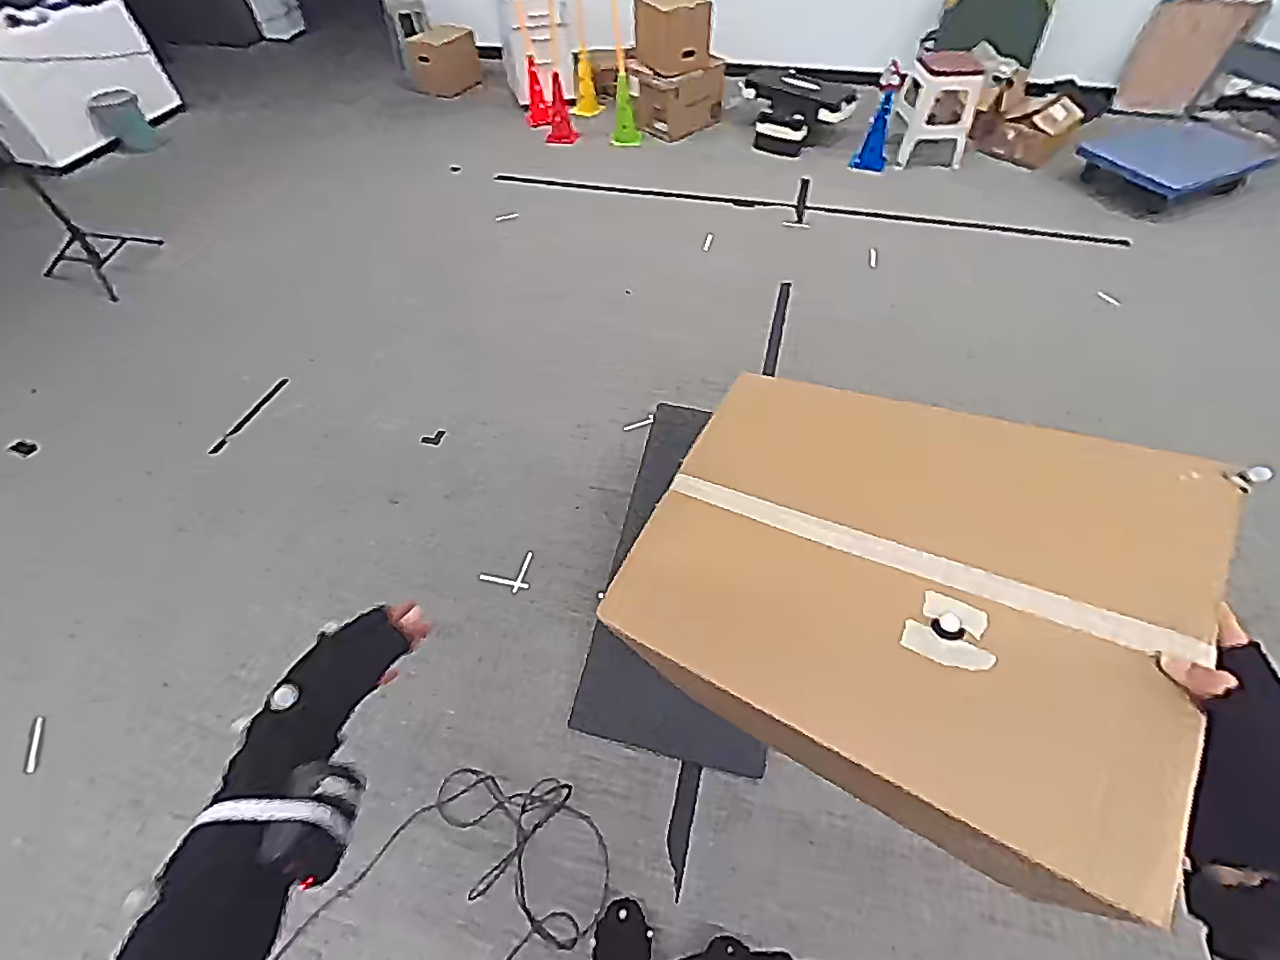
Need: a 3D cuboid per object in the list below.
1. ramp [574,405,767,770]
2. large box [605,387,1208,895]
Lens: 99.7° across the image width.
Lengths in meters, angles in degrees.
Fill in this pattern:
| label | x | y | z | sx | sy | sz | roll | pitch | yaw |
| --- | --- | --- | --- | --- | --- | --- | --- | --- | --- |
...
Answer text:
| label | x | y | z | sx | sy | sz | roll | pitch | yaw |
| --- | --- | --- | --- | --- | --- | --- | --- | --- | --- |
| ramp | 0.177 | 0.229 | 1.553 | 0.509 | 0.206 | 0.991 | 10 | 54 | 7 |
| large box | 0.245 | 0.145 | 0.576 | 0.408 | 0.320 | 0.320 | 19 | 67 | 32 |
